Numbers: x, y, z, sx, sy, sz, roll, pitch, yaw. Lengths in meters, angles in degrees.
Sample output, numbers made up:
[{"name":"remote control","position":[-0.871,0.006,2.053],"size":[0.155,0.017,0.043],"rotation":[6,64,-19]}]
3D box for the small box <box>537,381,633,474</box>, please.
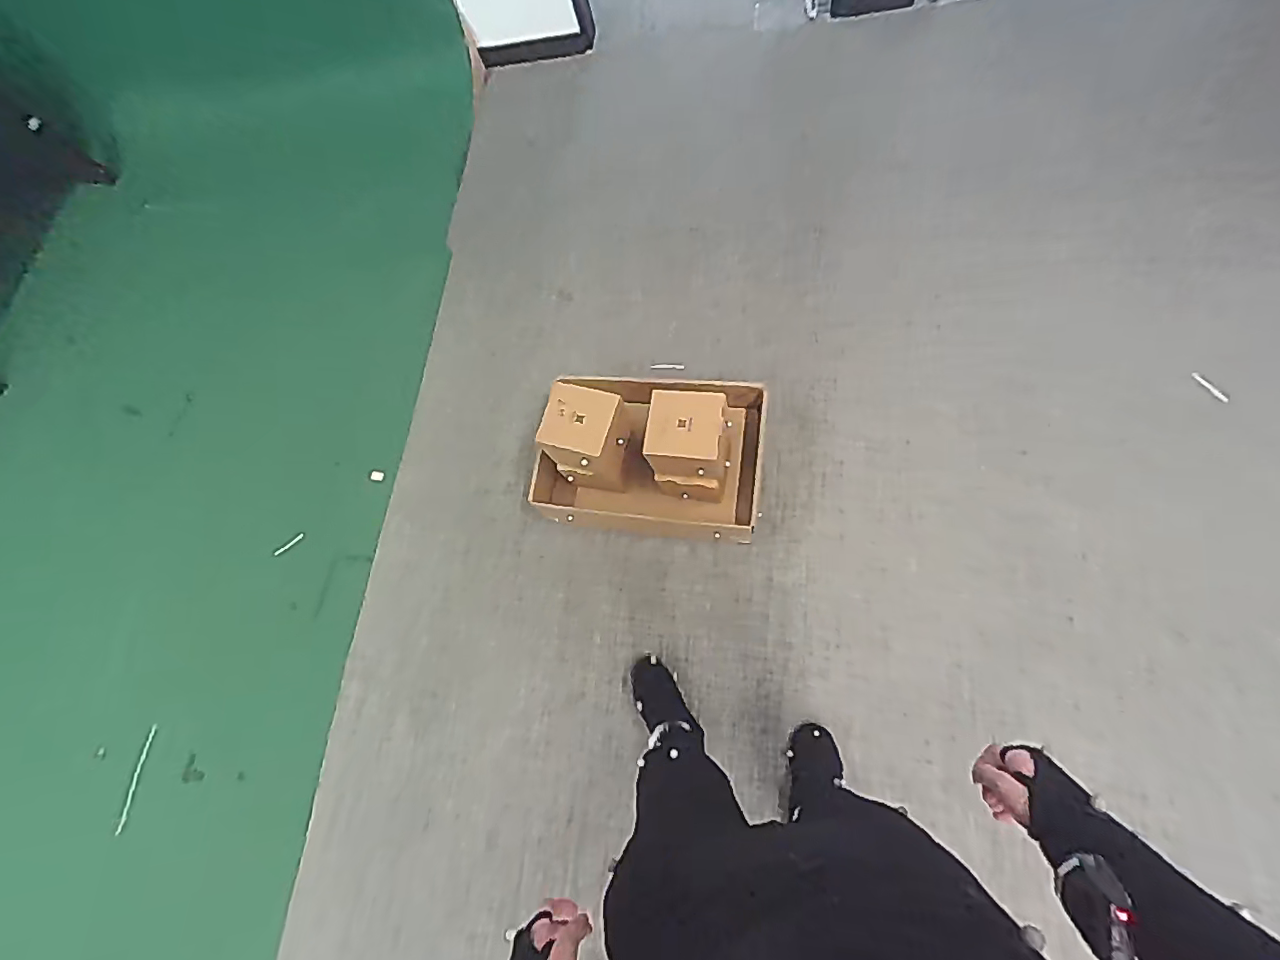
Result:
[{"name":"small box","position":[-0.131,-0.127,1.381],"size":[0.179,0.176,0.168],"rotation":[15,76,15]}]
